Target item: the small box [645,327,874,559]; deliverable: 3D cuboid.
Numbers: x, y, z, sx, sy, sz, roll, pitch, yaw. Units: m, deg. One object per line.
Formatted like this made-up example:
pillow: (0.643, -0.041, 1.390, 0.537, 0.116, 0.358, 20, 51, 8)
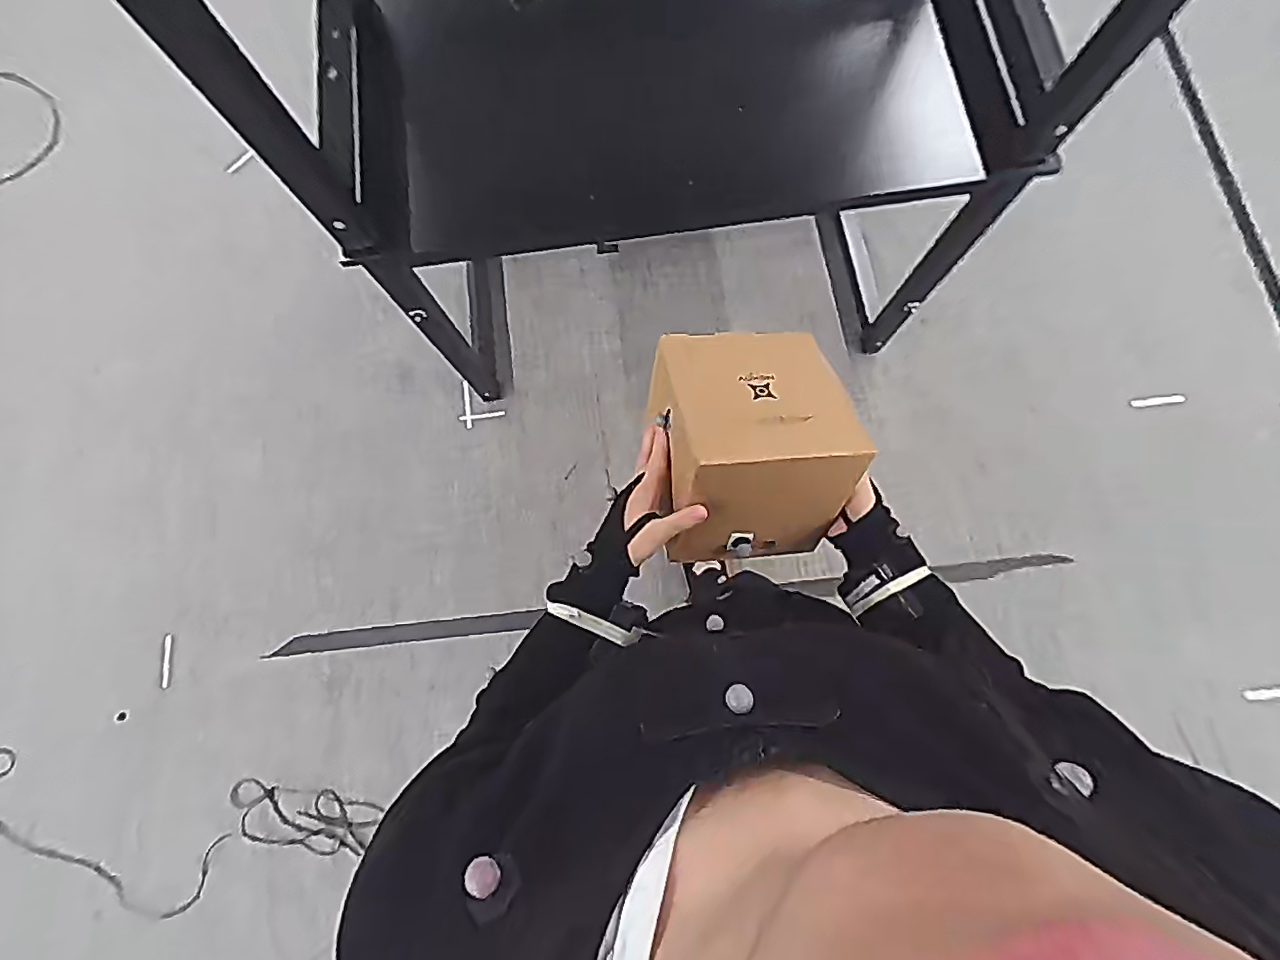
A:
small box: (0.104, -0.039, 0.571, 0.168, 0.176, 0.179, -6, 52, -10)
